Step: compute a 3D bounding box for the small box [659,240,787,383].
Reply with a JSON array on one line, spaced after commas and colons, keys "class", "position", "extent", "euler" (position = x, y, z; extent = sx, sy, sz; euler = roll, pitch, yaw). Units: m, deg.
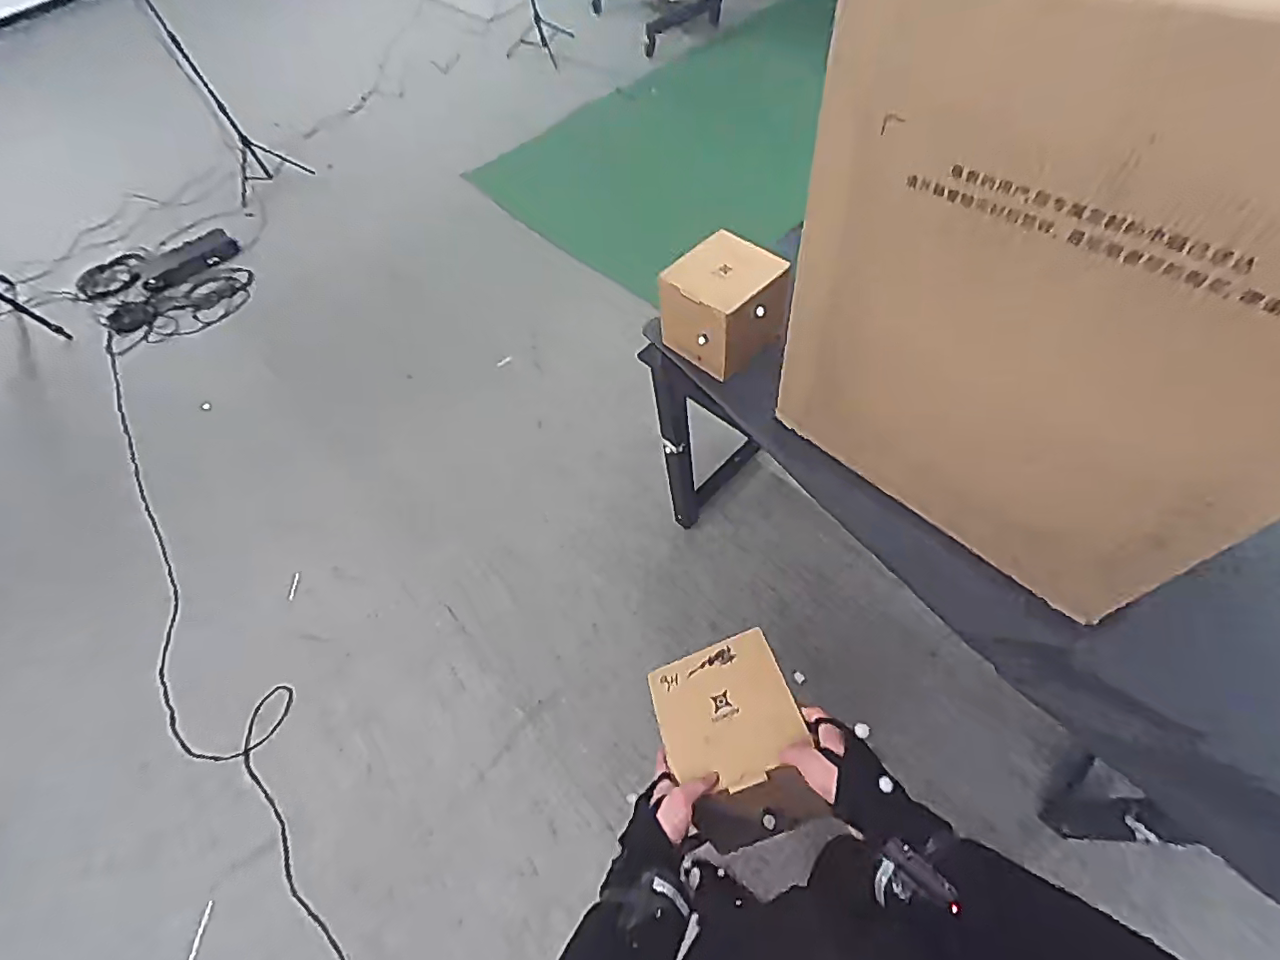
[{"class": "small box", "position": [0.158, -0.321, 1.045], "extent": [0.179, 0.176, 0.168], "euler": [-41, 63, -20]}]
